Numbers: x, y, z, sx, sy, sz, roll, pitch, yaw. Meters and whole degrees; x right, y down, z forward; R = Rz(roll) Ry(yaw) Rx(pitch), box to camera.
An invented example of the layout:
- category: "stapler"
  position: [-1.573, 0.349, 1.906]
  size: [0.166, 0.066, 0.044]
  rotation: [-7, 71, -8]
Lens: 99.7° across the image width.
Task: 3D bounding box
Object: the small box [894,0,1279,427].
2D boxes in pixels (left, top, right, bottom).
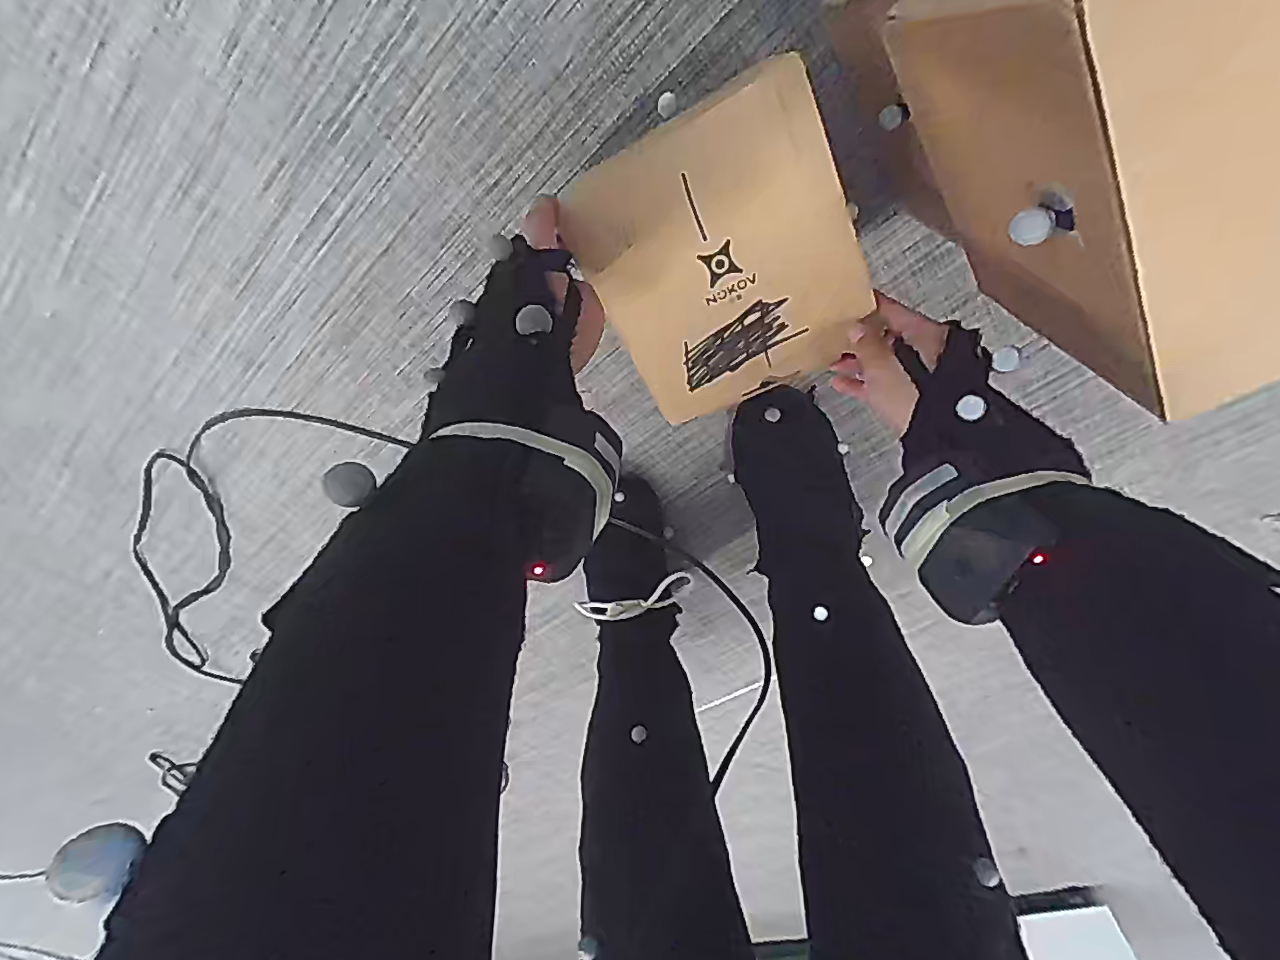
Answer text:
- category: "small box"
  position: [0.239, -0.162, 0.226]
  size: [0.168, 0.176, 0.179]
  rotation: [-30, 119, 22]

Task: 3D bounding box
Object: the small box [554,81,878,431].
- category: "small box"
  position: [0.061, -0.174, 0.422]
  size: [0.168, 0.176, 0.179]
  rotation: [-22, 121, 19]

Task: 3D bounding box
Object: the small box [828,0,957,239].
- category: "small box"
  position: [0.245, -0.273, 0.347]
  size: [0.168, 0.176, 0.179]
  rotation: [-30, 119, 22]
